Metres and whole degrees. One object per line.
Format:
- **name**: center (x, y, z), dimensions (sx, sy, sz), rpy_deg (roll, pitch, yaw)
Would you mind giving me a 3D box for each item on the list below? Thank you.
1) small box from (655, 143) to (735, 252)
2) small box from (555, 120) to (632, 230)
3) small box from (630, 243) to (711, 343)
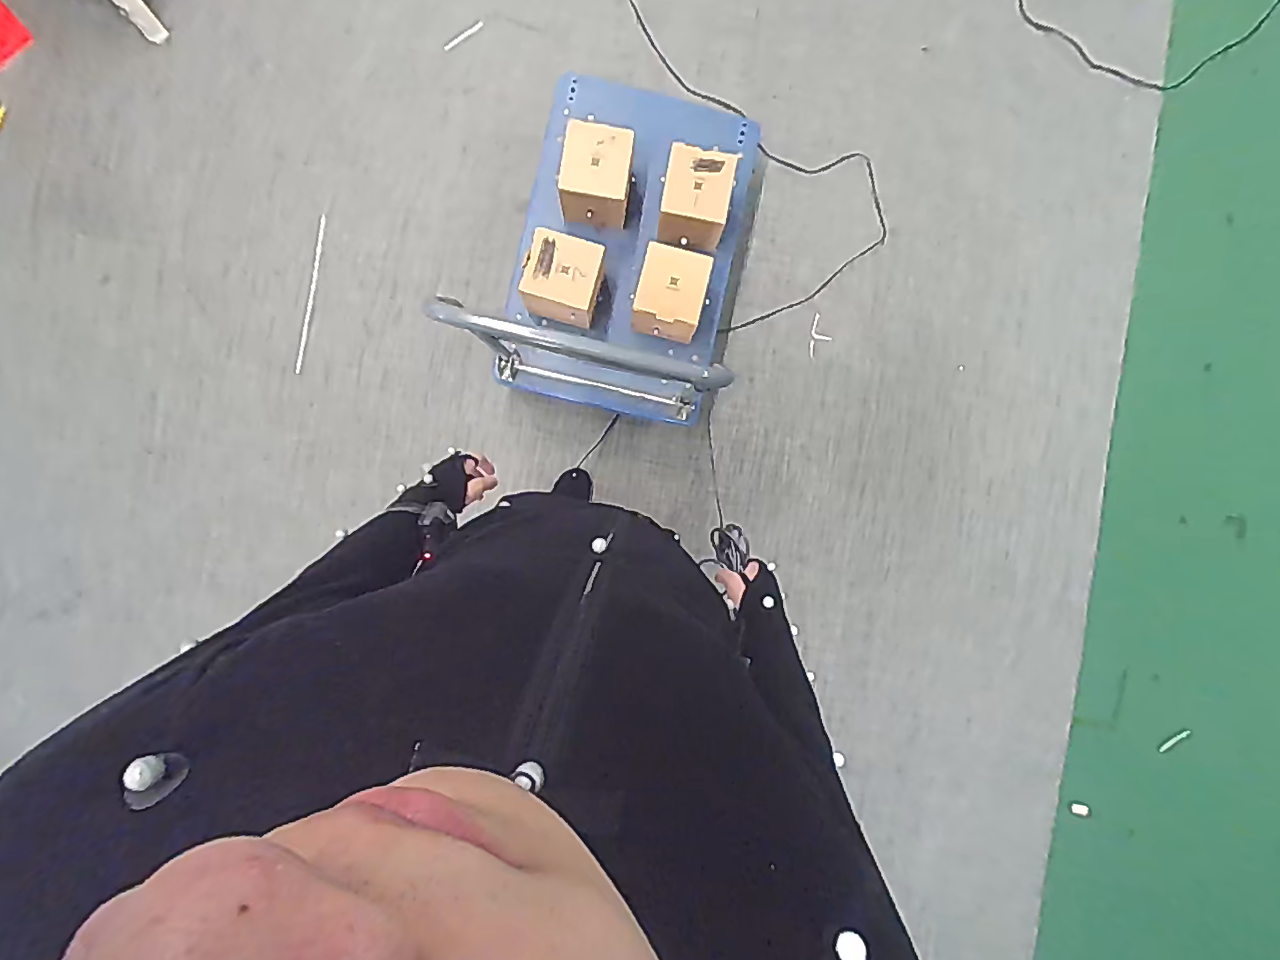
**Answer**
- **small box**: center (0.134, -0.720, 1.396), dimensions (0.168, 0.176, 0.179), rpy_deg (11, 90, -2)
- **small box**: center (-0.116, -0.770, 1.383), dimensions (0.168, 0.176, 0.179), rpy_deg (9, 89, -3)
- **small box**: center (0.072, -0.474, 1.393), dimensions (0.168, 0.176, 0.179), rpy_deg (14, 90, -3)
